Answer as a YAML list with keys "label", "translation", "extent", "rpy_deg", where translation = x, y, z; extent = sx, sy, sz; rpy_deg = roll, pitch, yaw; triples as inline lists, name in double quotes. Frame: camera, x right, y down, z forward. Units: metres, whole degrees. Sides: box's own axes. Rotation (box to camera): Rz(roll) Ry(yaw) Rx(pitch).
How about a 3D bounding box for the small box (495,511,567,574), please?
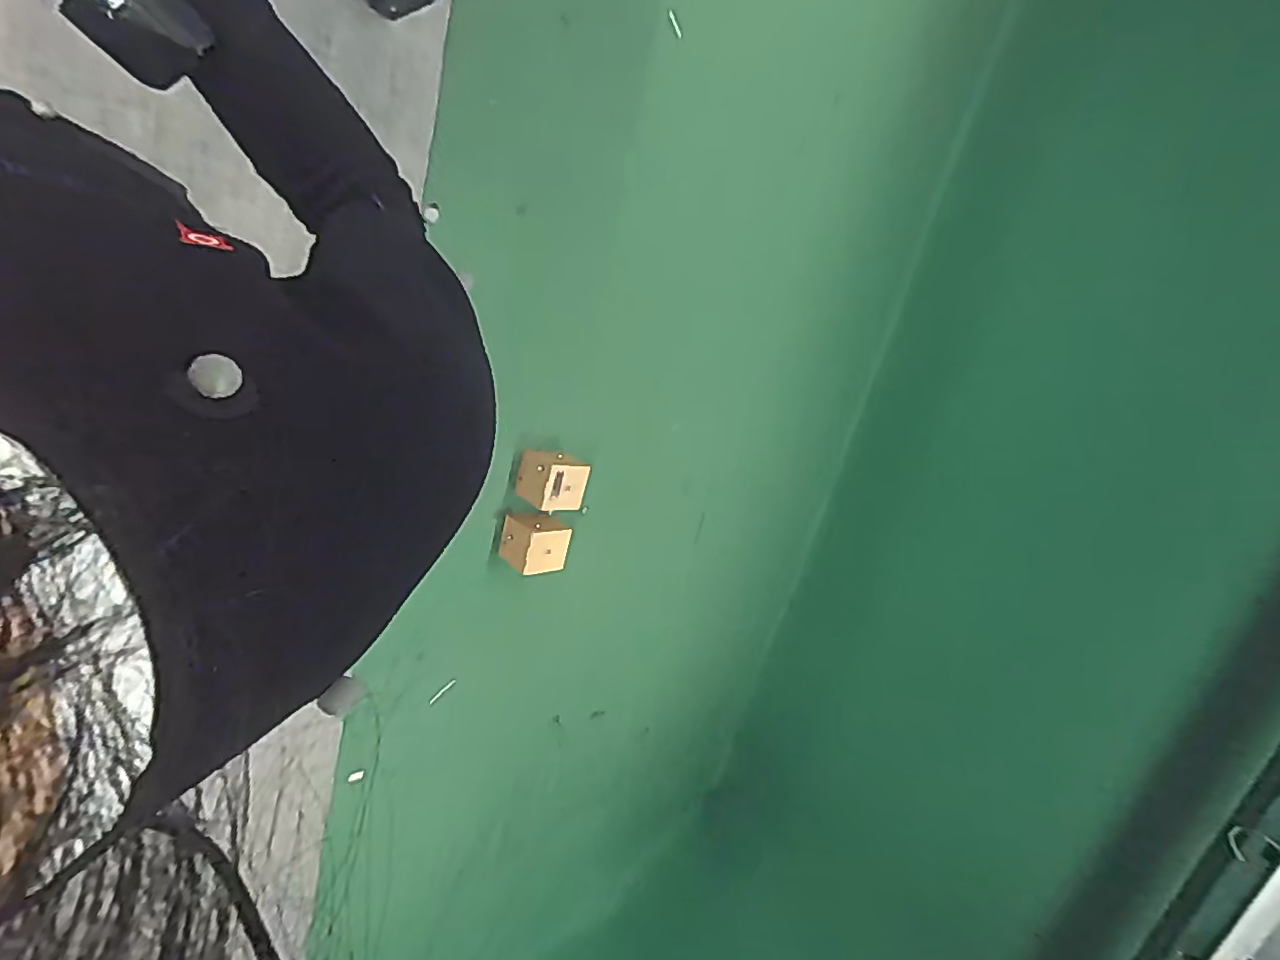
- label: "small box"
  translation: [-0.398, 0.221, 1.963]
  extent: [0.179, 0.176, 0.168]
  rpy_deg: [-1, 112, -47]
